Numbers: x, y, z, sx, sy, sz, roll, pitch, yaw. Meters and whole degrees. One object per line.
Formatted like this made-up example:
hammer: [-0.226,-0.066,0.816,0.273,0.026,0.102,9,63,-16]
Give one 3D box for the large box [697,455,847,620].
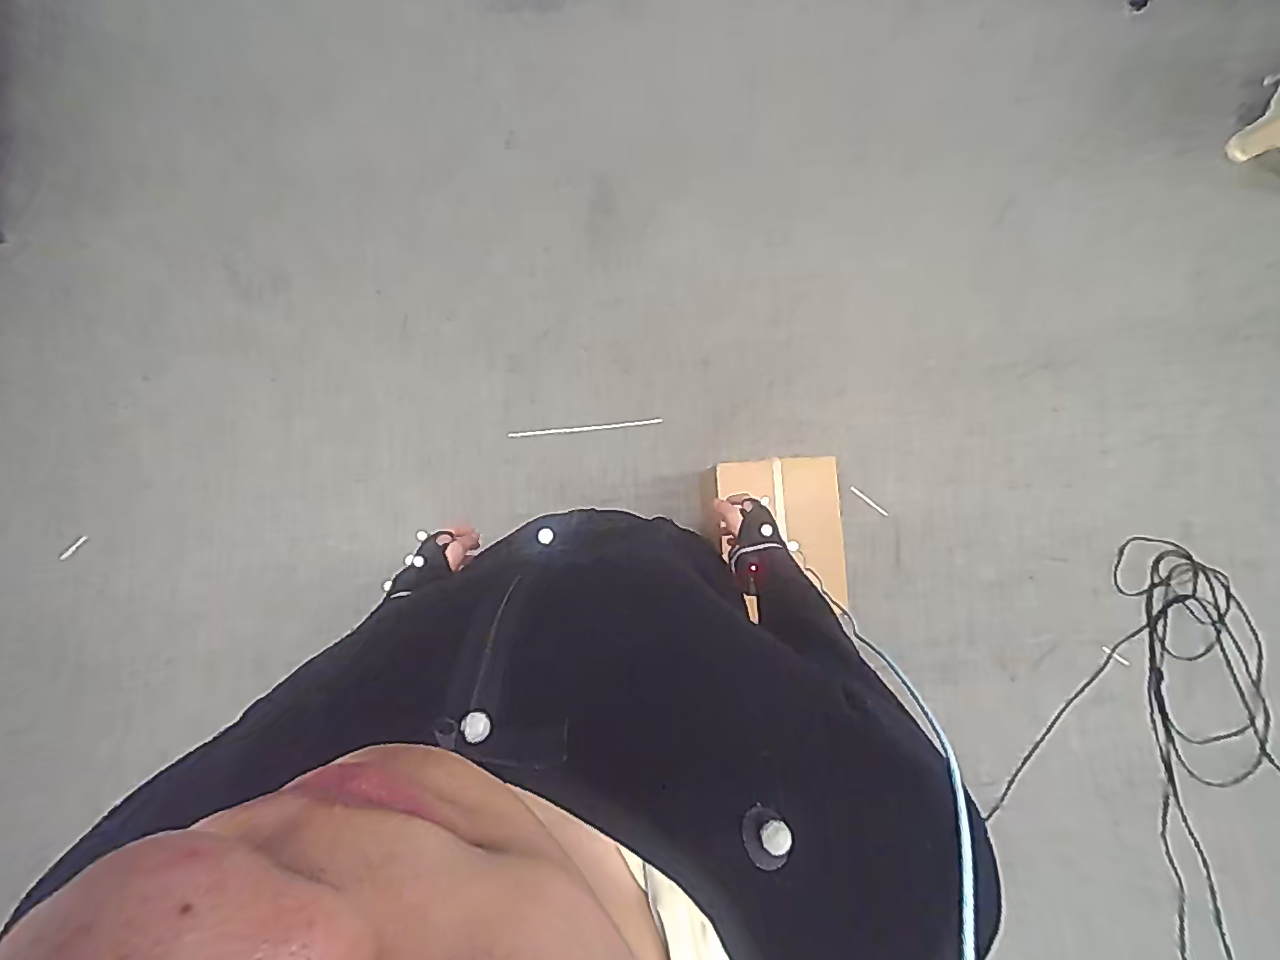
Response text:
large box: [0.350,0.151,1.522,0.320,0.320,0.408,-4,87,-2]
